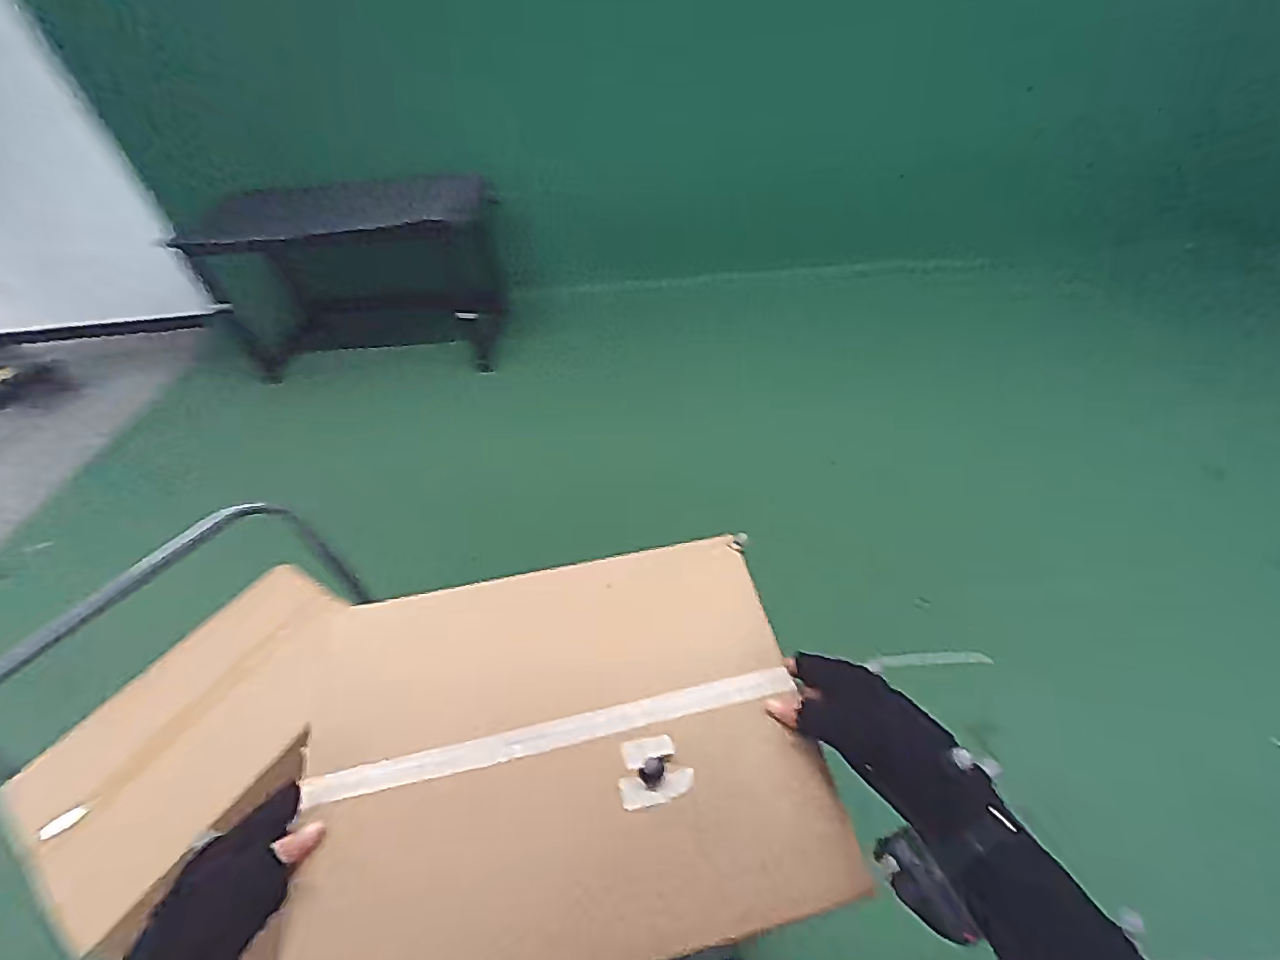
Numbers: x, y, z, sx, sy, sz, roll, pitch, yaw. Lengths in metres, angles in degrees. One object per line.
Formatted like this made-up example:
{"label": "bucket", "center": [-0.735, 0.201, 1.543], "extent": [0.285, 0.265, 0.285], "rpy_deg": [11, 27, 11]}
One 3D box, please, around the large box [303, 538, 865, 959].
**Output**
{"label": "large box", "center": [-0.060, 0.302, 0.573], "extent": [0.408, 0.320, 0.320], "rpy_deg": [-8, 52, -8]}
